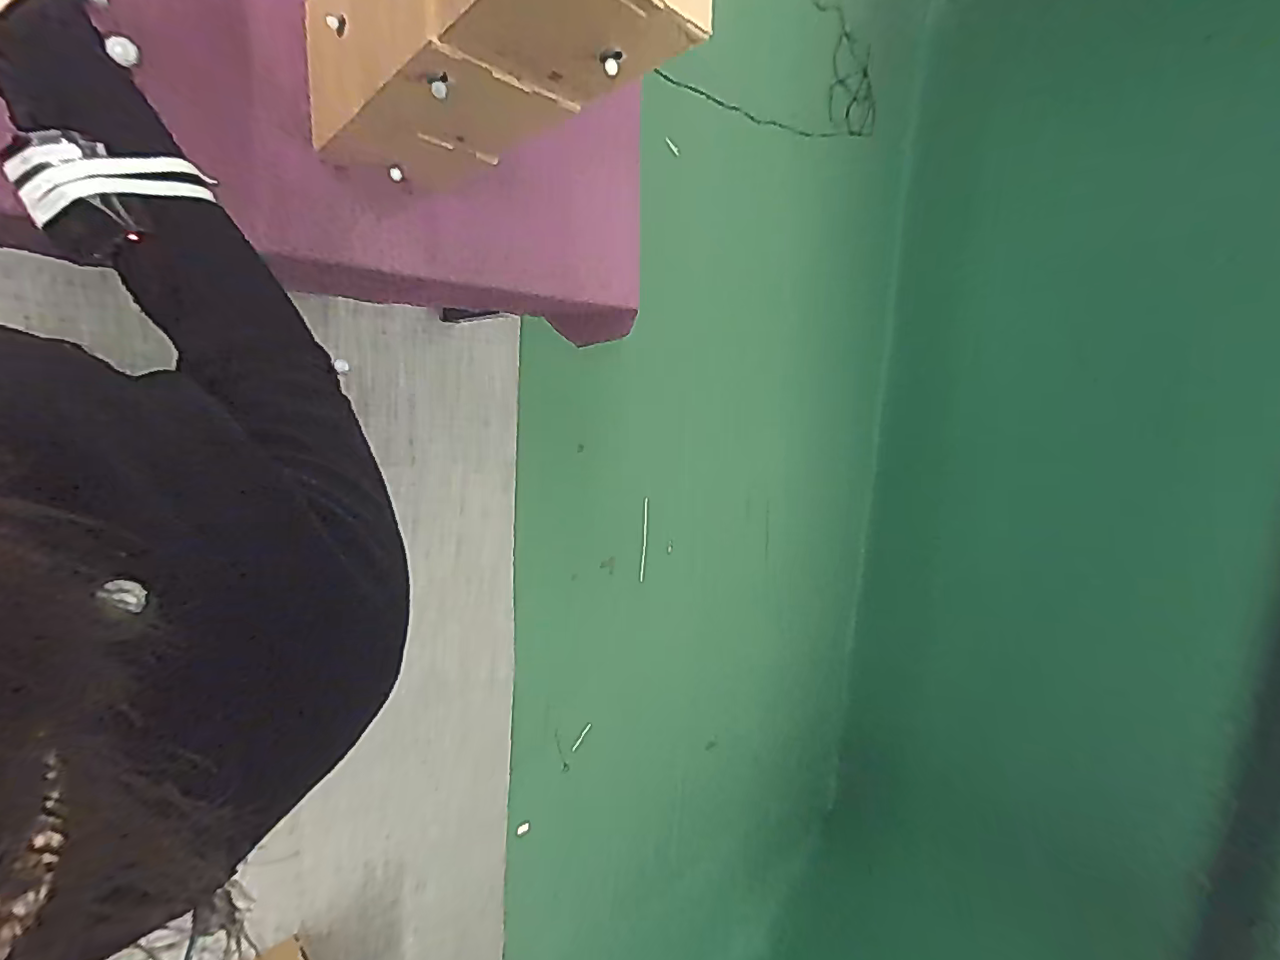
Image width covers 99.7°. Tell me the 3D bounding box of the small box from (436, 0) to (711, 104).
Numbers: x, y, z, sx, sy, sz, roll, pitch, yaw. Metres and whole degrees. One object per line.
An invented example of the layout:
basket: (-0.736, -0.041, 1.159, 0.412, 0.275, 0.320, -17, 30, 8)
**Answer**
small box: (-0.057, -0.448, 0.439, 0.168, 0.176, 0.179, -11, 104, -45)

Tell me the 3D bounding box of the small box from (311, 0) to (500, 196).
small box: (-0.290, -0.482, 0.668, 0.168, 0.176, 0.179, -7, 102, -45)
